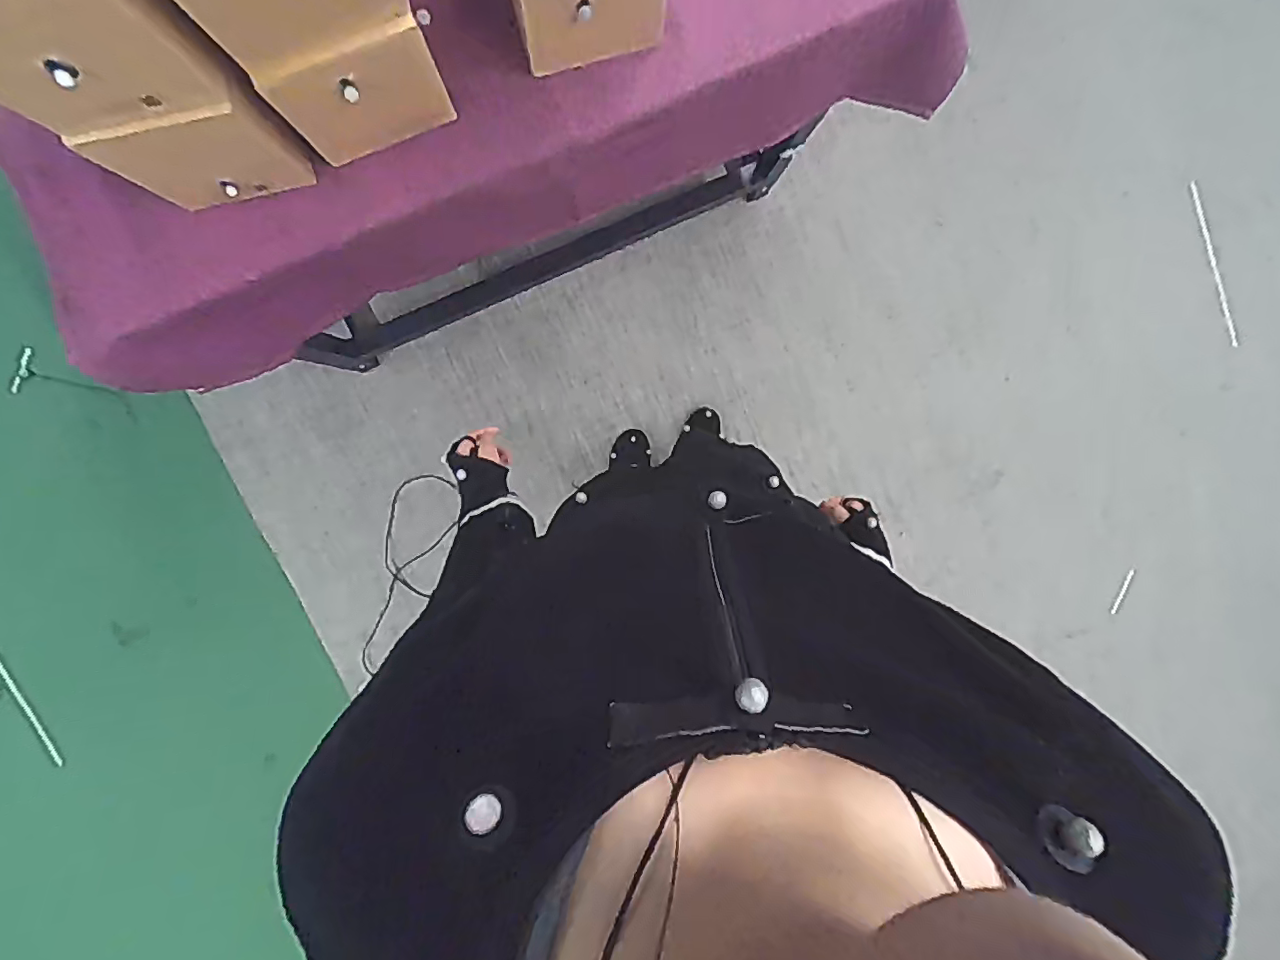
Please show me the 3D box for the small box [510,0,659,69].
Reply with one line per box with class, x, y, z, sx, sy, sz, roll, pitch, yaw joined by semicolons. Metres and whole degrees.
small box;-0.075;-0.613;0.610;0.179;0.176;0.168;-16;97;-3
